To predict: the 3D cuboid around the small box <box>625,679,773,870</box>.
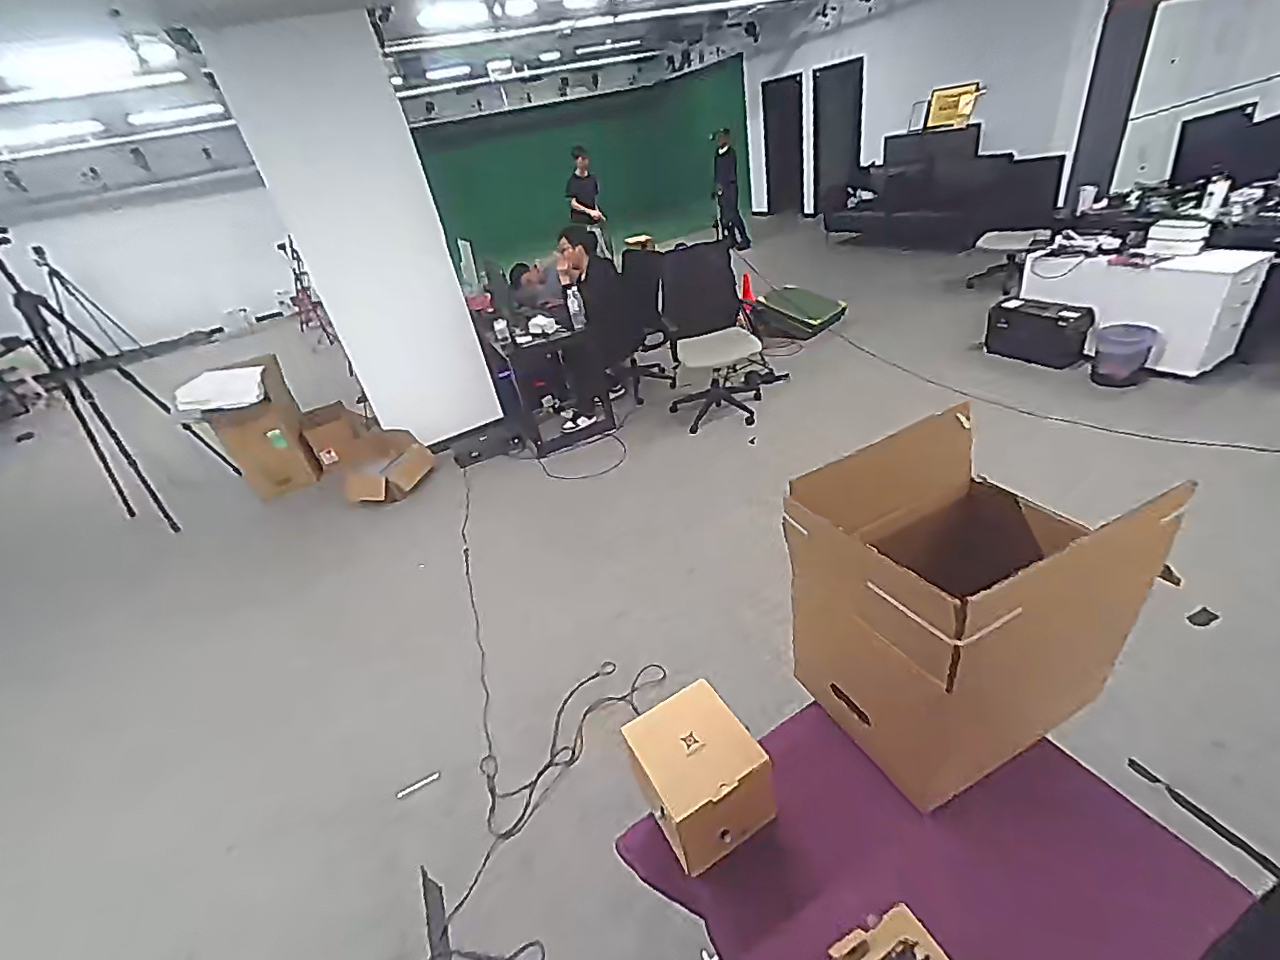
[{"bbox_3d":[0.094,0.469,0.870,0.168,0.176,0.179,-24,35,-19],"label":"small box"}]
